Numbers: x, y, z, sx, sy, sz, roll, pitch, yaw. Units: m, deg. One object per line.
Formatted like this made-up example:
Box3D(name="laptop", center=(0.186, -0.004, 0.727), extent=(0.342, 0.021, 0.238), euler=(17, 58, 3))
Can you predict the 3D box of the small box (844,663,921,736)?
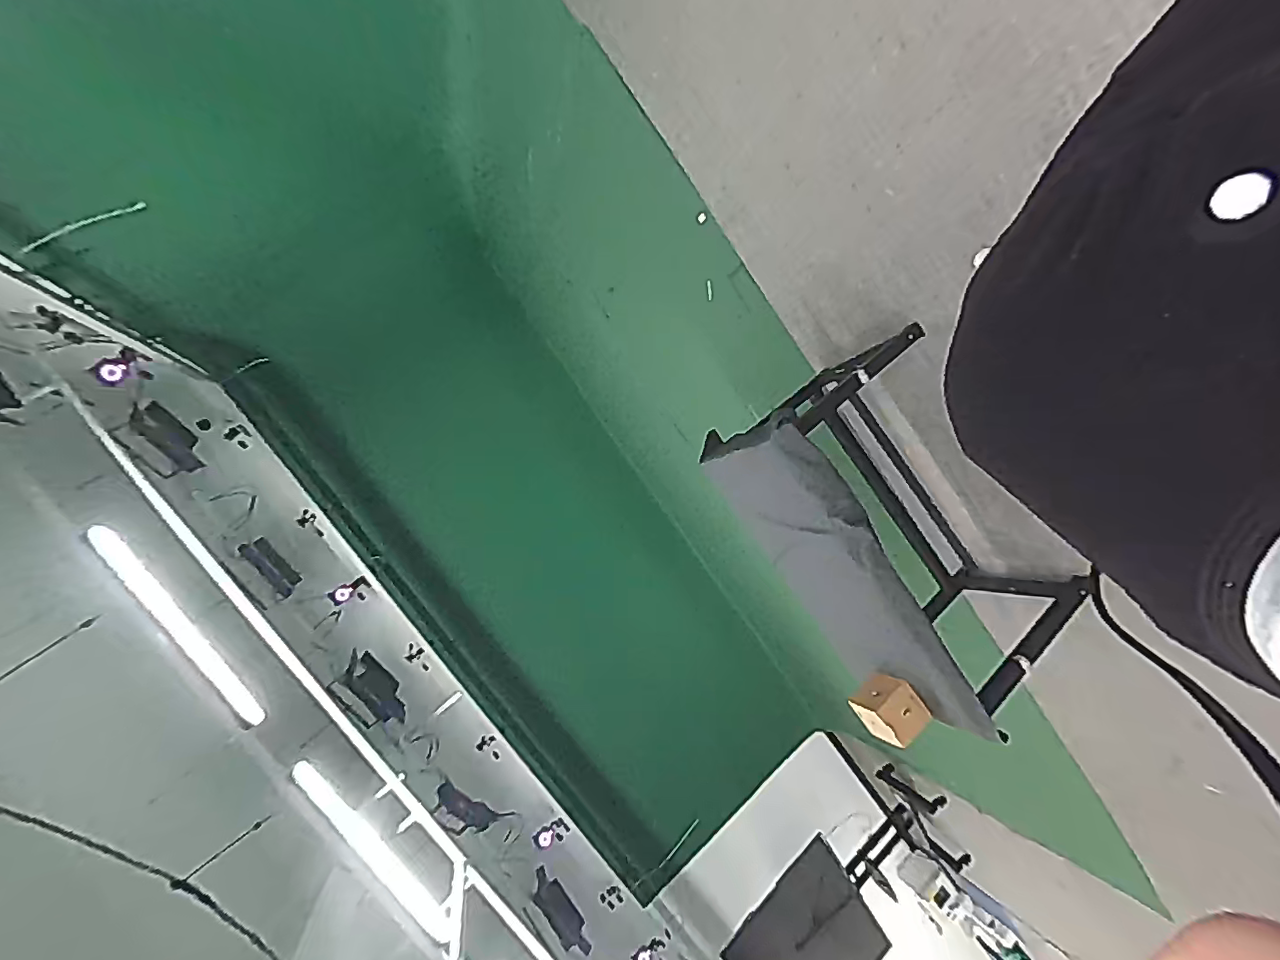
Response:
Box3D(name="small box", center=(0.912, 0.809, 2.017), extent=(0.168, 0.176, 0.179), euler=(53, 164, -1))
